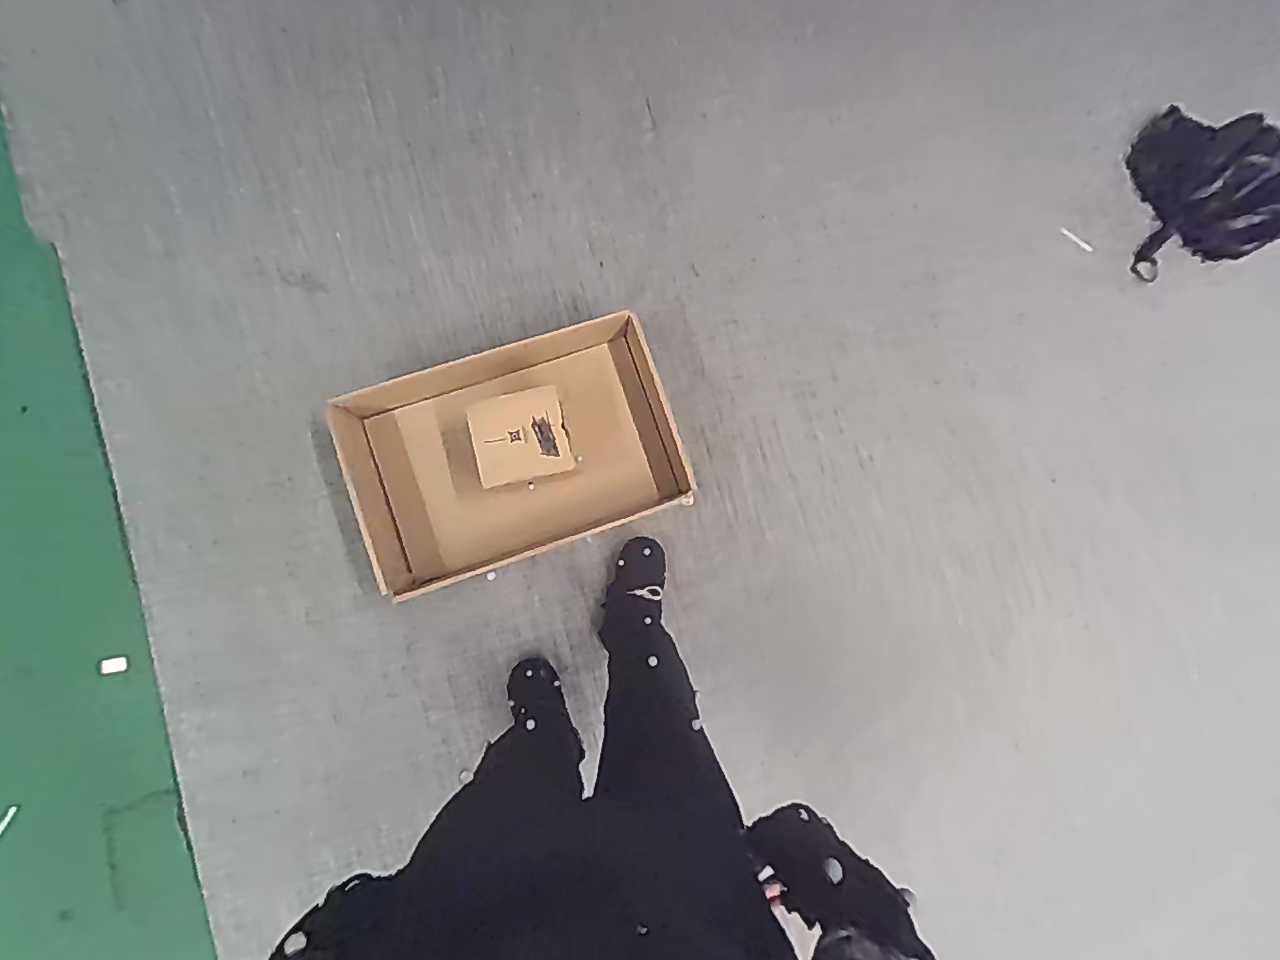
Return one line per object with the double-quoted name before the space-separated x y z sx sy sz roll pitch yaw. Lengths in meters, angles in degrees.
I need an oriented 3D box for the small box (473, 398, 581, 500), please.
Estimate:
"small box" -0.221 -0.057 1.109 0.179 0.176 0.168 -12 85 -3
